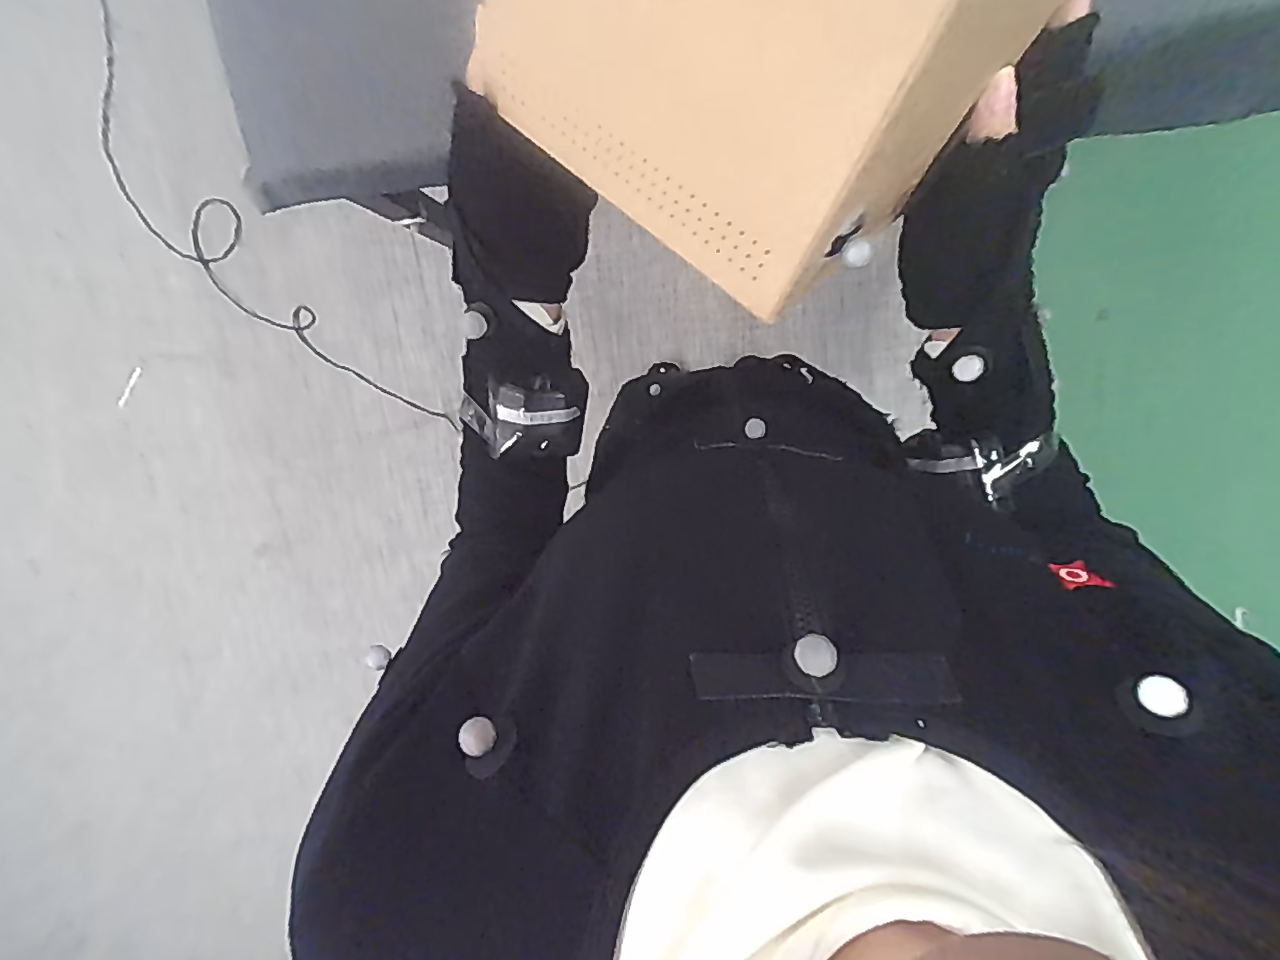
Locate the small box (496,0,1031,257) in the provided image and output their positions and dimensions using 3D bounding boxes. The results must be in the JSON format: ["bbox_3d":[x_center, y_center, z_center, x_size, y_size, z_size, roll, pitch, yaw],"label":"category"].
[{"bbox_3d":[0.060,-0.218,0.216,0.179,0.176,0.168,41,59,11],"label":"small box"}]
